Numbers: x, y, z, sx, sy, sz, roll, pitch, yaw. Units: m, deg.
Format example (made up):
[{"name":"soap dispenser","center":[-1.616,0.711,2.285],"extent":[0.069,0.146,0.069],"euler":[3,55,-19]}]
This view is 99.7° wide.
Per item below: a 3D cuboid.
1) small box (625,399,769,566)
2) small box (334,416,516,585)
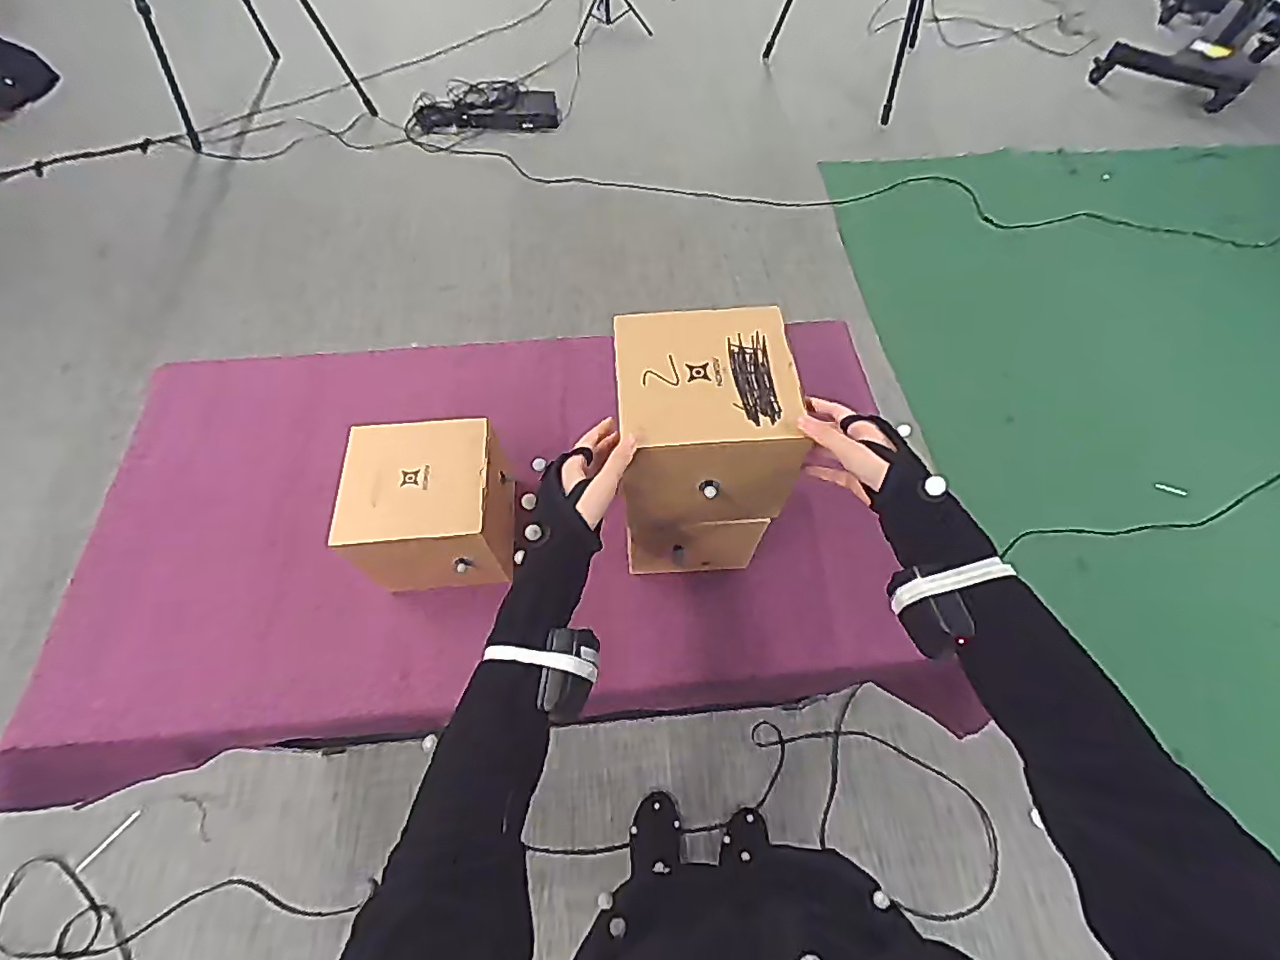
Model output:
[{"name":"small box","center":[0.068,0.012,0.737],"extent":[0.168,0.176,0.179],"euler":[-3,60,-1]},{"name":"small box","center":[-0.267,0.033,0.724],"extent":[0.179,0.176,0.168],"euler":[-4,60,-2]}]
